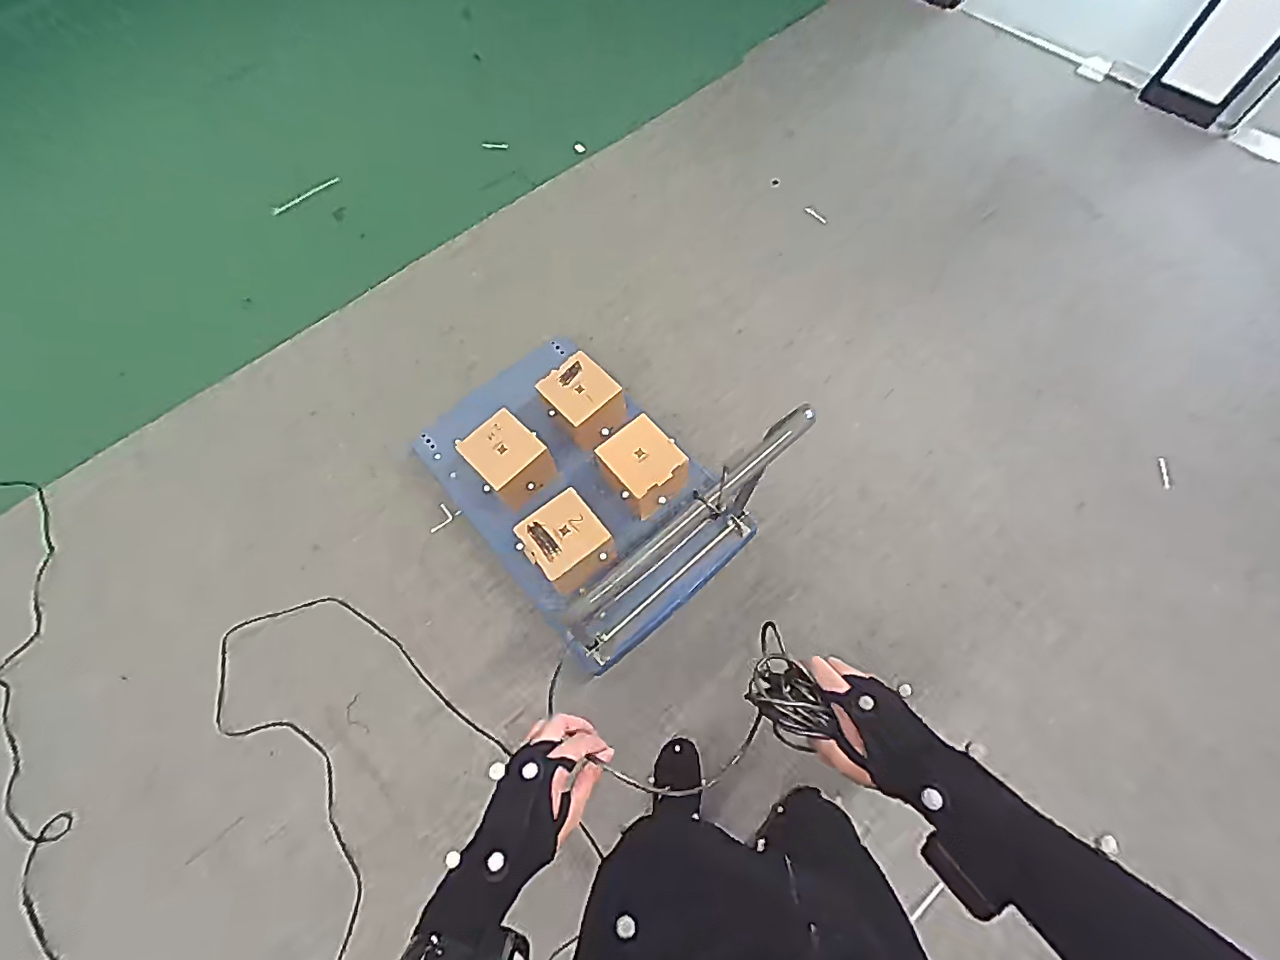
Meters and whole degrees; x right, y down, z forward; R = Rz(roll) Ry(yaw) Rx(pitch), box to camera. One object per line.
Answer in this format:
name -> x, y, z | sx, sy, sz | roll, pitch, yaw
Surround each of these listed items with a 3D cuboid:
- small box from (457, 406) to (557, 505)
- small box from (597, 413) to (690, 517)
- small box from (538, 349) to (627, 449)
small box -> -0.341, -0.054, 1.425 | 0.168, 0.176, 0.179 | -42, 71, -15
small box -> 0.010, -0.033, 1.402 | 0.168, 0.176, 0.179 | -38, 71, -13
small box -> -0.152, -0.215, 1.484 | 0.168, 0.176, 0.179 | -41, 72, -13
